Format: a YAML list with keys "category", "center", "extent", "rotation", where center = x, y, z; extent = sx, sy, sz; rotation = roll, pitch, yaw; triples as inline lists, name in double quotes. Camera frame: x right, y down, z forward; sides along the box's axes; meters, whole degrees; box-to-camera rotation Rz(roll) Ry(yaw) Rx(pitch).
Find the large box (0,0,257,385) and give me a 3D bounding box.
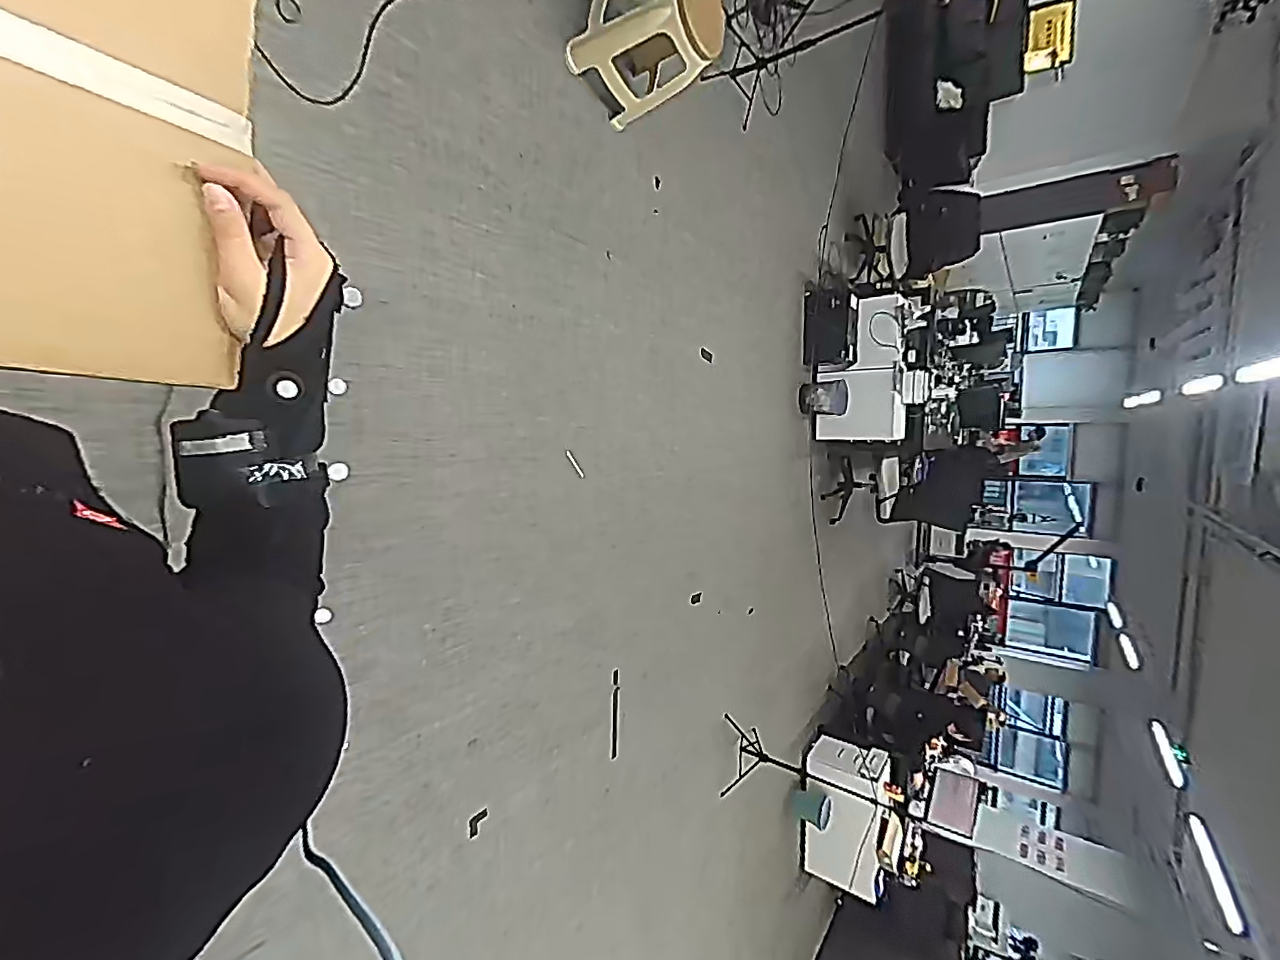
- category: "large box"
  center: [-0.489, -0.232, 0.278]
  extent: [0.408, 0.320, 0.320]
  rotation: [-2, 102, -54]
